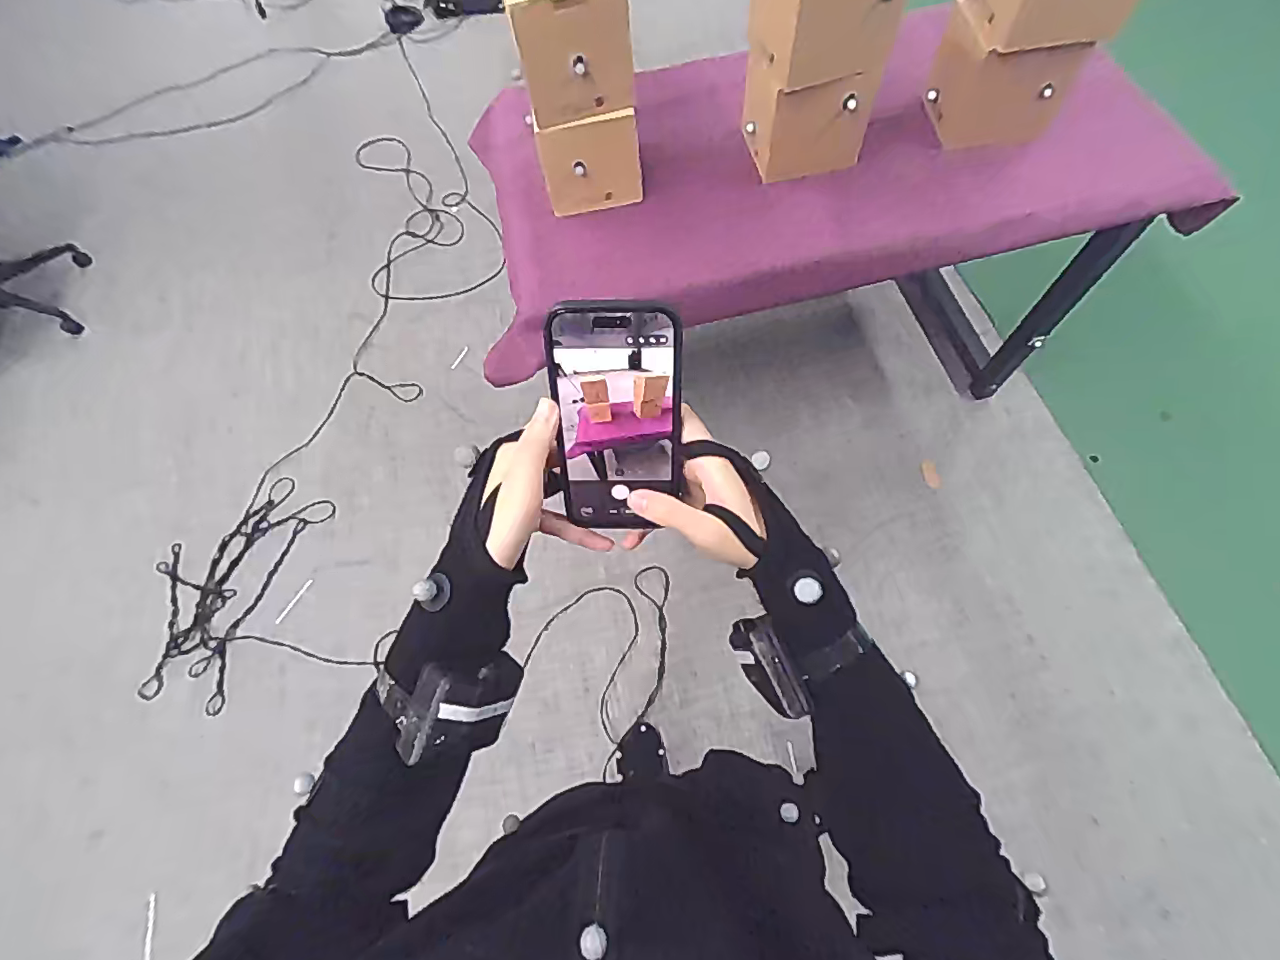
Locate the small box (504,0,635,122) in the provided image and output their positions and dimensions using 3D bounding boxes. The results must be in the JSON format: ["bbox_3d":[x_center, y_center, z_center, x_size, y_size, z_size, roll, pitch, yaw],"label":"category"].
[{"bbox_3d":[-0.109,-0.683,0.827,0.168,0.176,0.179,-15,66,-2],"label":"small box"}]

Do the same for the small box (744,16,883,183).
[{"bbox_3d":[0.294,-0.666,0.958,0.179,0.176,0.168,-11,65,1],"label":"small box"}]

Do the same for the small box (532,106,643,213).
[{"bbox_3d":[-0.092,-0.609,0.973,0.168,0.176,0.179,-11,65,1],"label":"small box"}]

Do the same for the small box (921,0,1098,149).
[{"bbox_3d":[0.631,-0.718,0.949,0.179,0.176,0.168,-5,65,4],"label":"small box"}]

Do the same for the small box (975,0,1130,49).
[{"bbox_3d":[0.627,-0.773,0.794,0.179,0.176,0.168,-6,65,3],"label":"small box"}]
